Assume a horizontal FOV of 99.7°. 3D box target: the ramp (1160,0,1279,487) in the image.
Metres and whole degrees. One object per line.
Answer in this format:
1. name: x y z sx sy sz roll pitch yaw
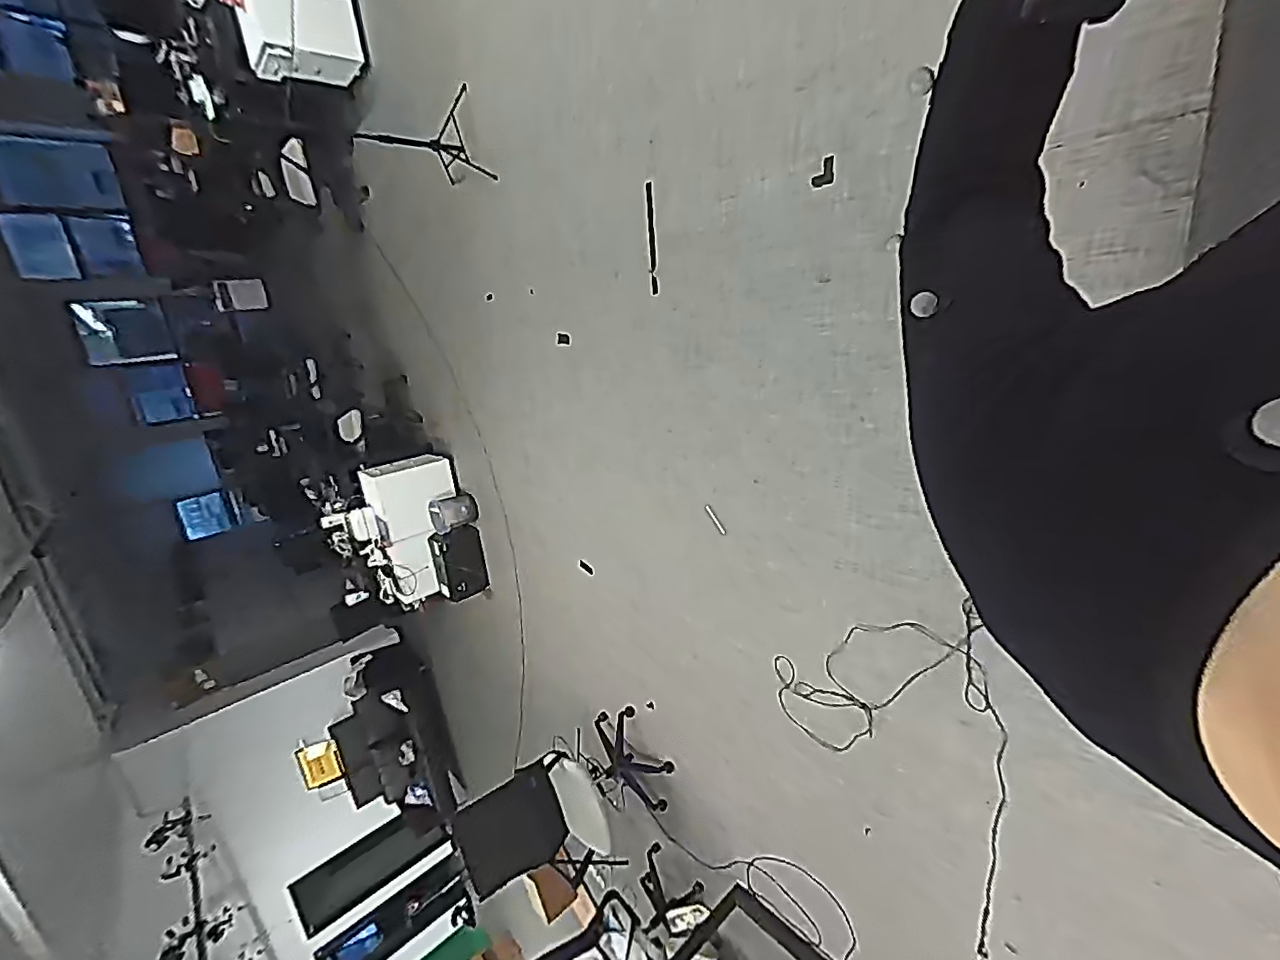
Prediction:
1. ramp: 1.184 -0.420 0.817 0.509 0.206 0.991 10 113 47
